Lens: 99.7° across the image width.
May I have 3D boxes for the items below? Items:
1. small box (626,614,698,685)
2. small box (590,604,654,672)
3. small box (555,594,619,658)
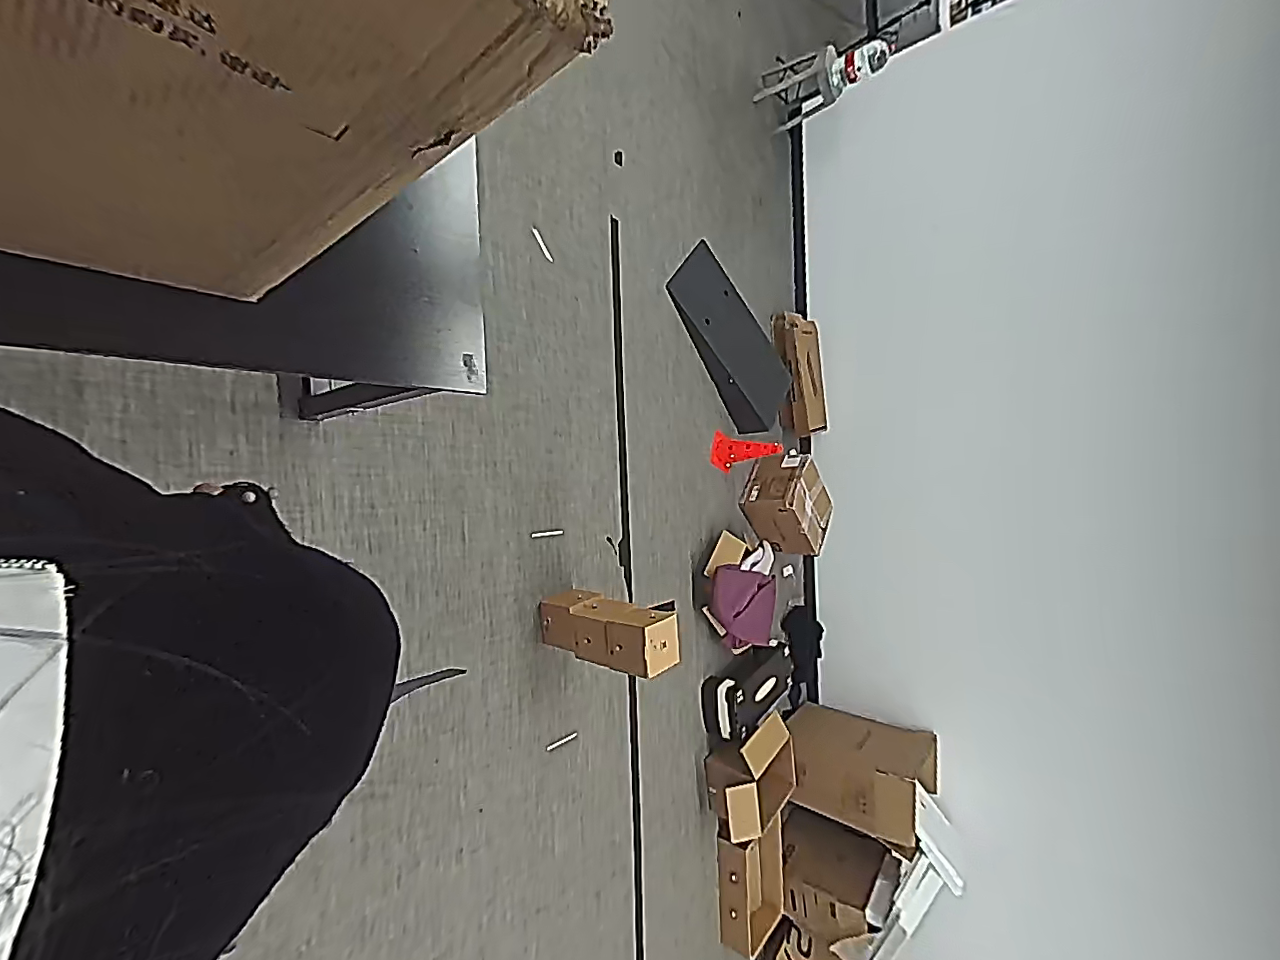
[{"bbox_3d":[0.071,0.551,1.781,0.179,0.176,0.168,-7,94,-51],"label":"small box"},{"bbox_3d":[-0.060,0.545,1.882,0.179,0.176,0.168,-14,100,-50],"label":"small box"},{"bbox_3d":[-0.188,0.529,1.985,0.179,0.176,0.168,-12,98,-49],"label":"small box"}]
